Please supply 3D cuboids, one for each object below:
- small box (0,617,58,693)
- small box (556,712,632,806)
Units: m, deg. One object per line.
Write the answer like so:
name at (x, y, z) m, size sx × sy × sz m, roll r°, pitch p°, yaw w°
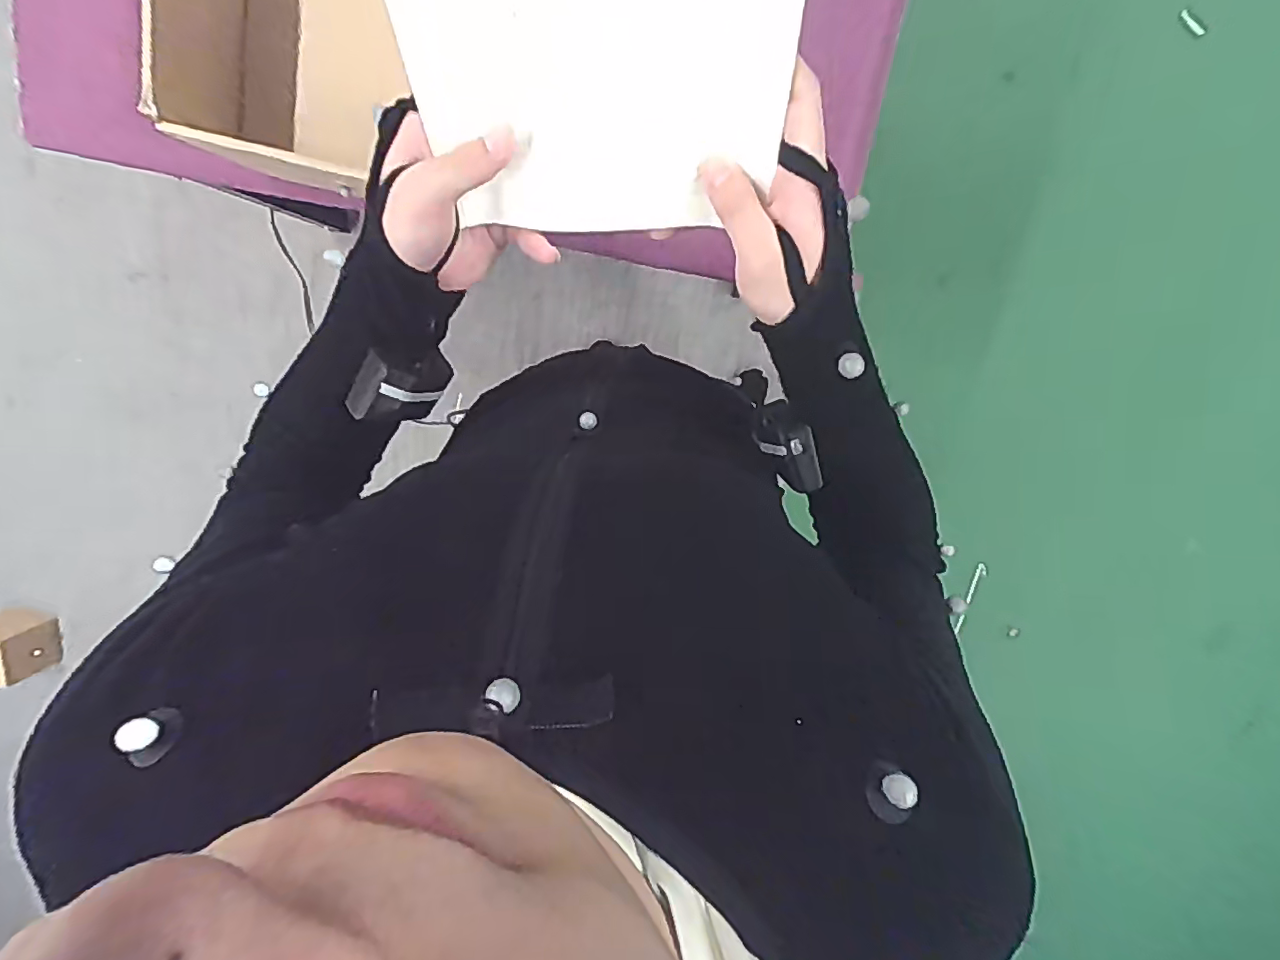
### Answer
small box at (-2.038, 0.557, 1.739) m, size 0.179 × 0.176 × 0.168 m, roll 7°, pitch 102°, yaw 0°
small box at (-0.142, 0.900, 1.757) m, size 0.168 × 0.176 × 0.179 m, roll -43°, pitch 97°, yaw 10°
